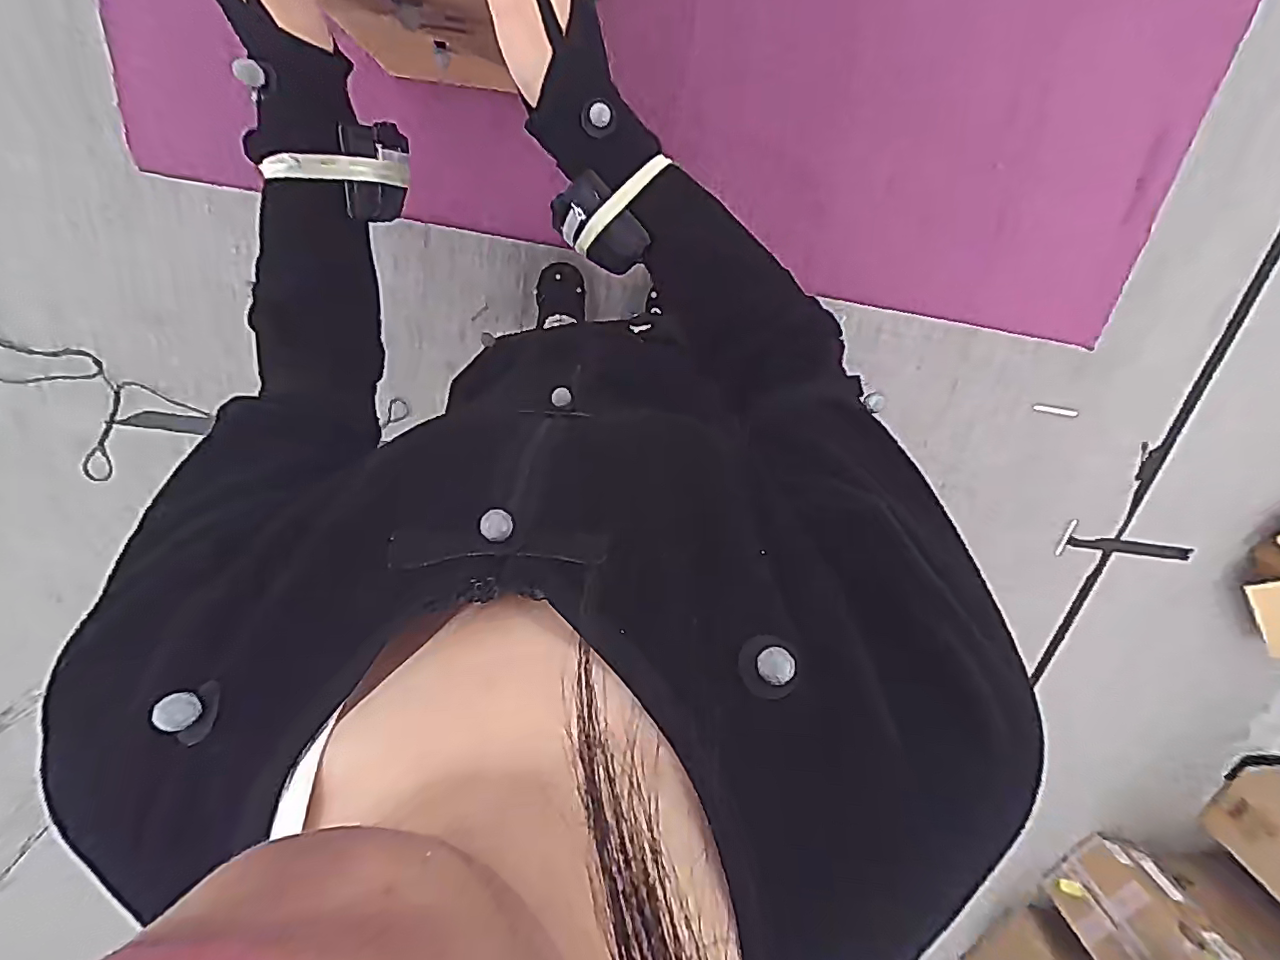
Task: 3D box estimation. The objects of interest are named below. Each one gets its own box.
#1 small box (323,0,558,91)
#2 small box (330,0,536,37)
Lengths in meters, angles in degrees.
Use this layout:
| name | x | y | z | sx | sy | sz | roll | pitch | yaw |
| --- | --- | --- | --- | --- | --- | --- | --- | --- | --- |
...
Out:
| name | x | y | z | sx | sy | sz | roll | pitch | yaw |
| --- | --- | --- | --- | --- | --- | --- | --- | --- | --- |
| small box | -0.160 | -0.465 | 0.473 | 0.179 | 0.176 | 0.168 | 4 | 113 | -8 |
| small box | -0.150 | -0.405 | 0.319 | 0.168 | 0.176 | 0.179 | 1 | 114 | -7 |
